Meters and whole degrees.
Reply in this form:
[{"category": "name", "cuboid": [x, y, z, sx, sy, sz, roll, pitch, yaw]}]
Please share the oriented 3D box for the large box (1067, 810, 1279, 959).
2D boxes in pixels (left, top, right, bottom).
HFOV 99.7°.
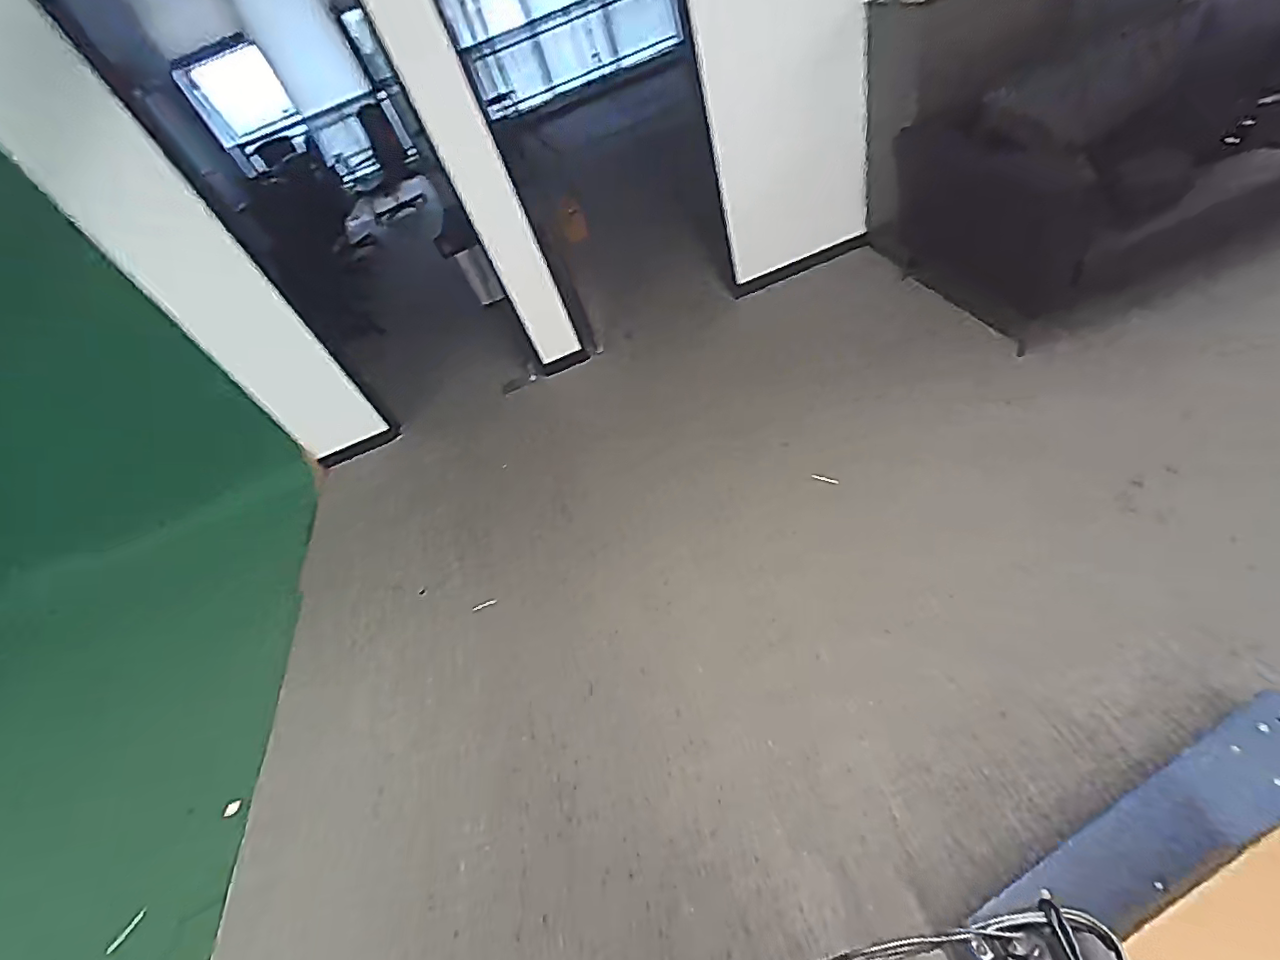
[{"category": "large box", "cuboid": [0.918, 0.775, 0.784, 0.408, 0.320, 0.320, -28, 43, -7]}]
